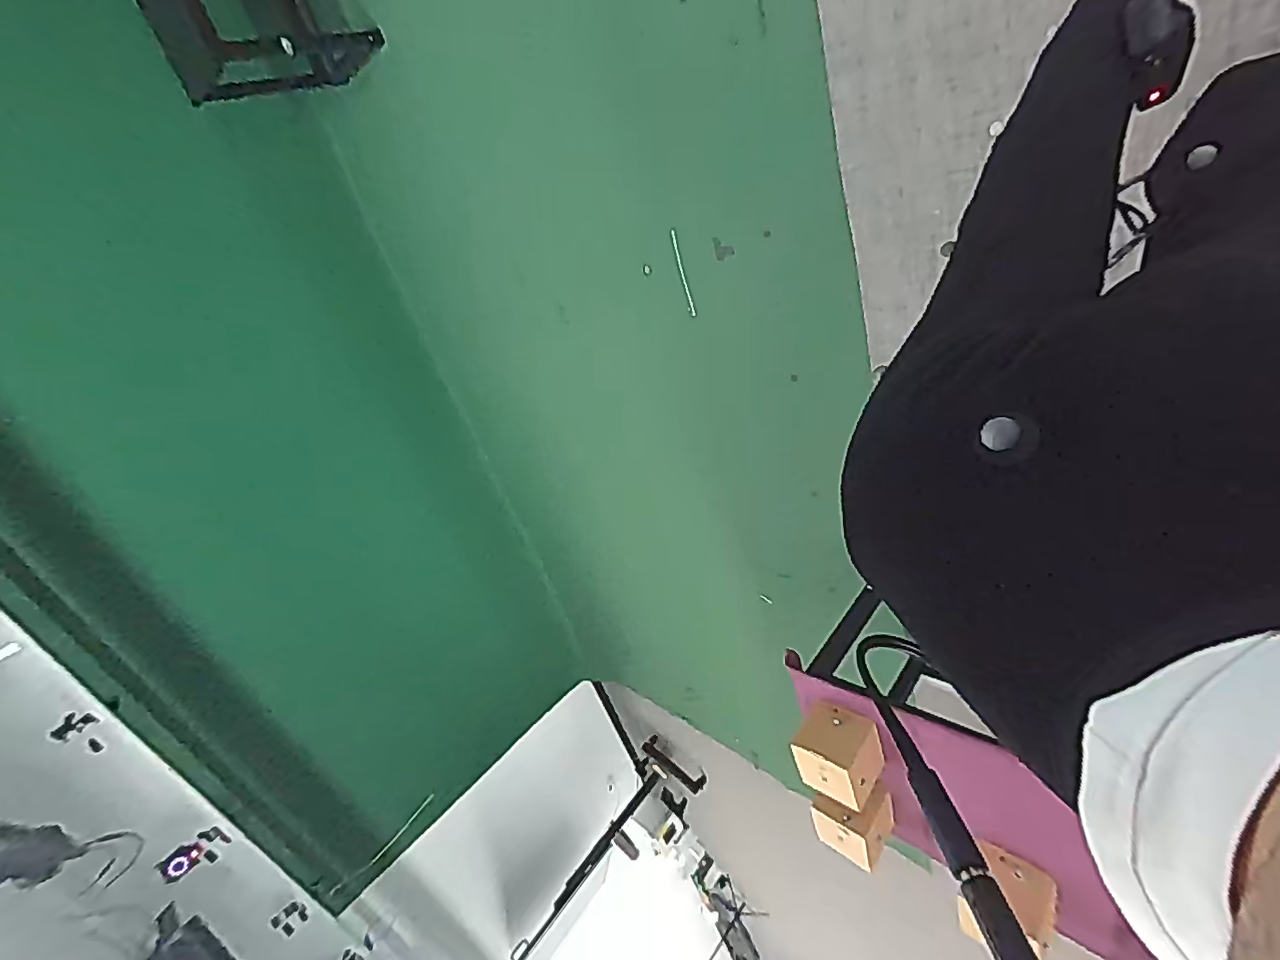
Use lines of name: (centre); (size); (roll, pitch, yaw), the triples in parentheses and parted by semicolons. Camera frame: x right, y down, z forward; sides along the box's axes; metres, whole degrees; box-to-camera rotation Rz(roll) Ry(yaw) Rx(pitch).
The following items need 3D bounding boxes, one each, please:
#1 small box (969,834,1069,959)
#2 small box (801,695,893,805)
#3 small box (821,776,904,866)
small box: (0.929, 1.026, 1.323); (0.168, 0.176, 0.179); (9, 127, 47)
small box: (0.572, 0.731, 1.481); (0.168, 0.176, 0.179); (7, 126, 47)
small box: (0.668, 0.982, 1.610); (0.168, 0.176, 0.179); (10, 129, 46)
